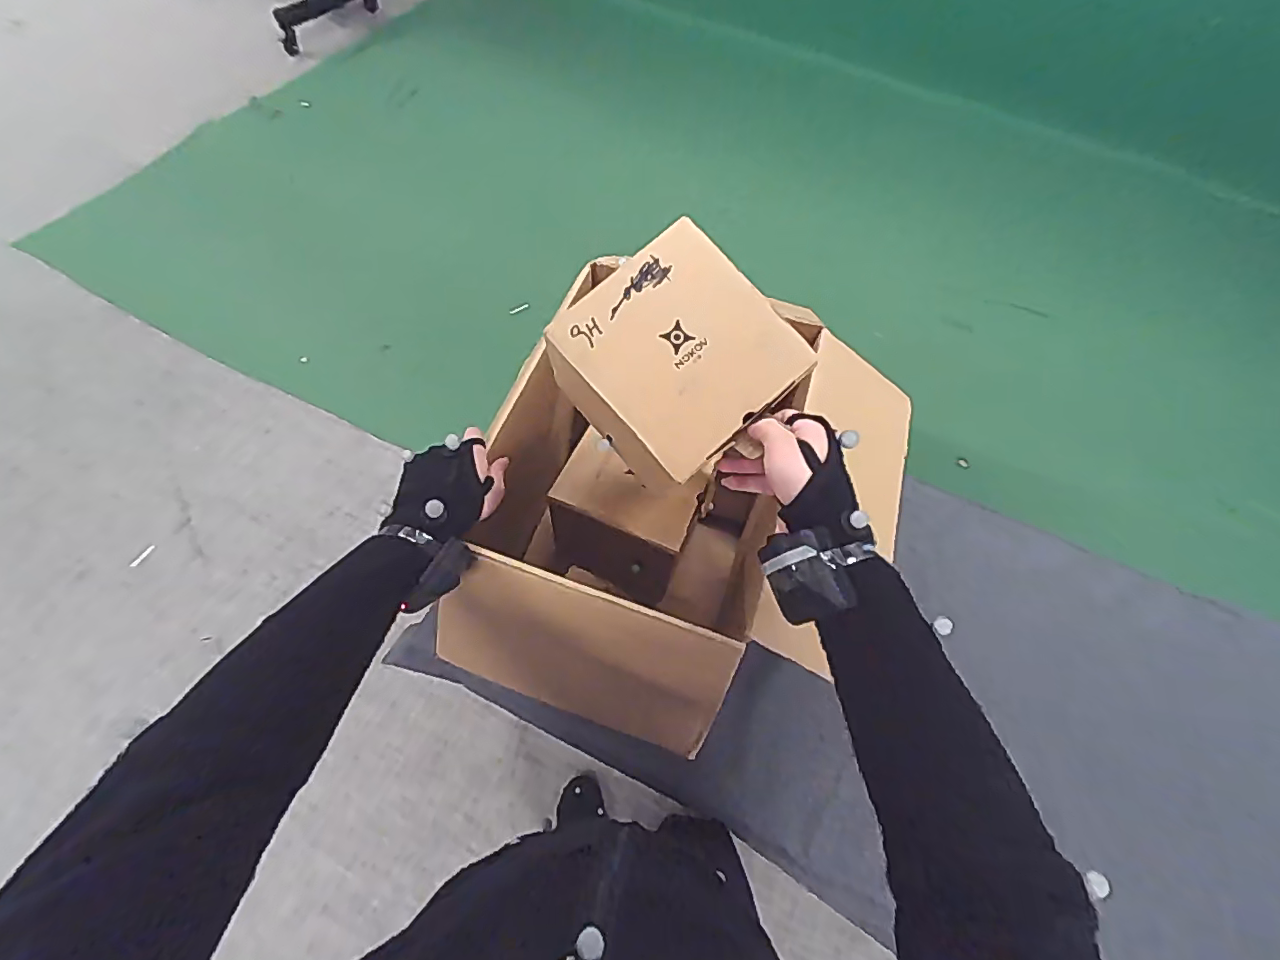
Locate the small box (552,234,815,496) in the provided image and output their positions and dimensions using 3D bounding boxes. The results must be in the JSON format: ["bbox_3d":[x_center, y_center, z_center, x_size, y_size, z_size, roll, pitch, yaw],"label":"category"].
[{"bbox_3d":[0.035,-0.097,0.549,0.168,0.176,0.179,-41,86,-8],"label":"small box"}]
